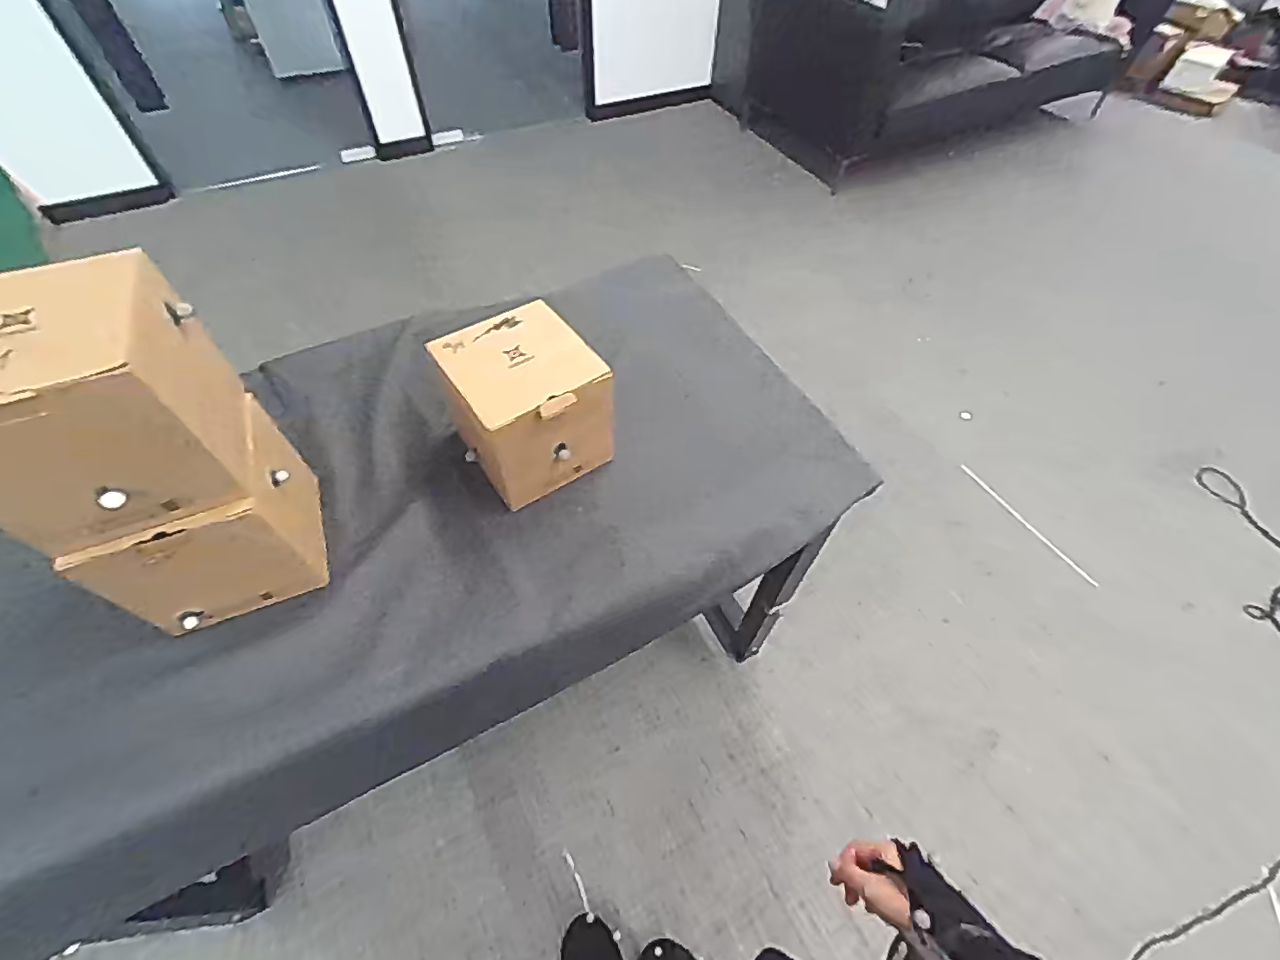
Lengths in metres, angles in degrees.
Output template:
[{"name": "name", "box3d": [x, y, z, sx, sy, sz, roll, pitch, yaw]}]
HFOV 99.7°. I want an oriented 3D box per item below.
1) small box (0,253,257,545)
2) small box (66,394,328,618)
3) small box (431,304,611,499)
[{"name": "small box", "box3d": [-0.483, -0.072, 0.493, 0.168, 0.176, 0.179, -21, 57, -16]}, {"name": "small box", "box3d": [-0.479, 0.037, 0.617, 0.168, 0.176, 0.179, -18, 55, -15]}, {"name": "small box", "box3d": [-0.149, -0.098, 0.728, 0.168, 0.176, 0.179, -29, 60, -21]}]
